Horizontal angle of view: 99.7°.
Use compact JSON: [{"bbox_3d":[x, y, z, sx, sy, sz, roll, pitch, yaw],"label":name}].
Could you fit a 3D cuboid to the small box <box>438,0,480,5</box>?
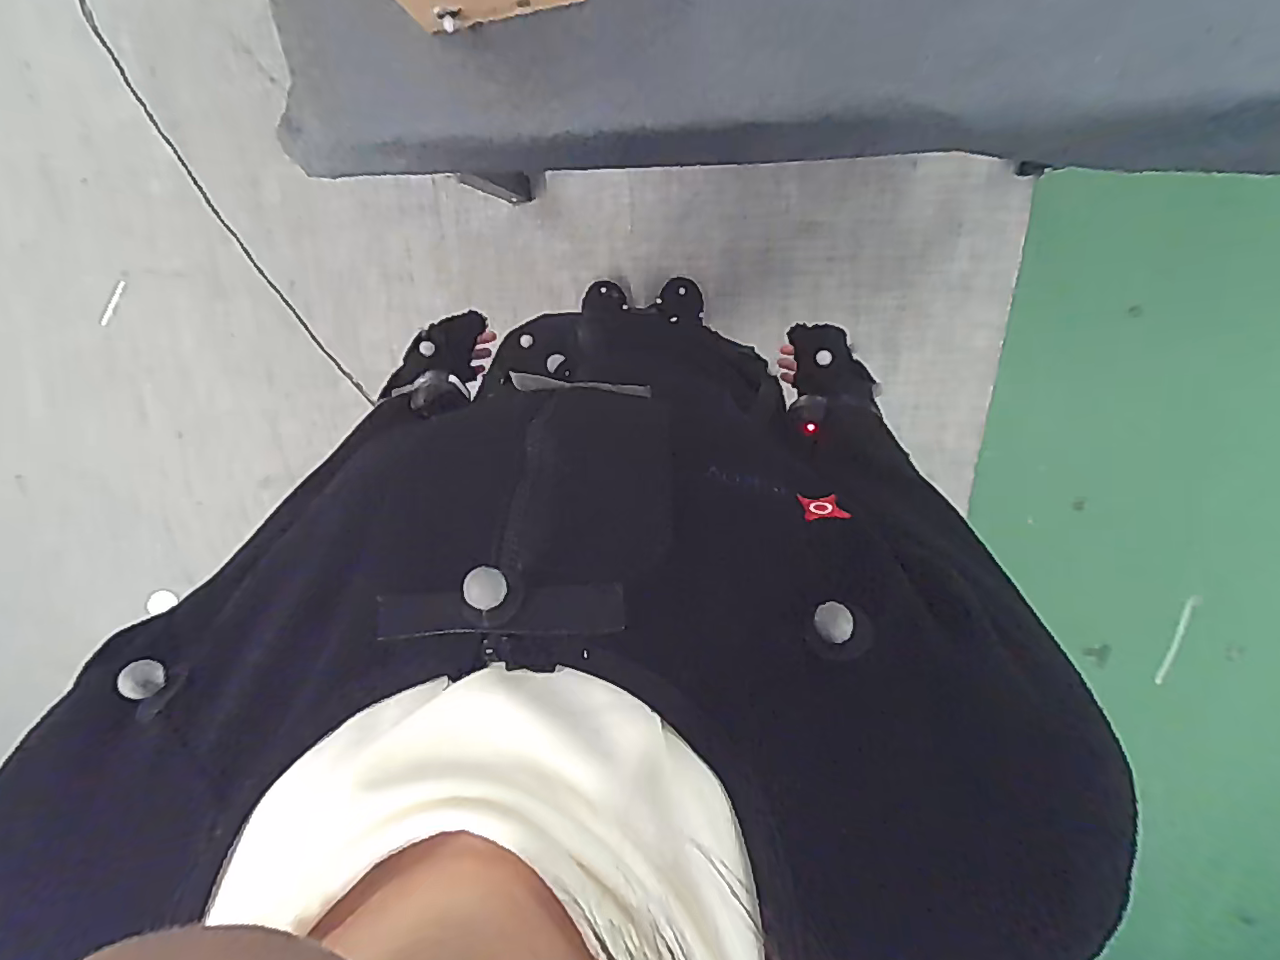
[{"bbox_3d":[-0.141,-0.516,0.421,0.168,0.176,0.179,-7,110,6],"label":"small box"}]
